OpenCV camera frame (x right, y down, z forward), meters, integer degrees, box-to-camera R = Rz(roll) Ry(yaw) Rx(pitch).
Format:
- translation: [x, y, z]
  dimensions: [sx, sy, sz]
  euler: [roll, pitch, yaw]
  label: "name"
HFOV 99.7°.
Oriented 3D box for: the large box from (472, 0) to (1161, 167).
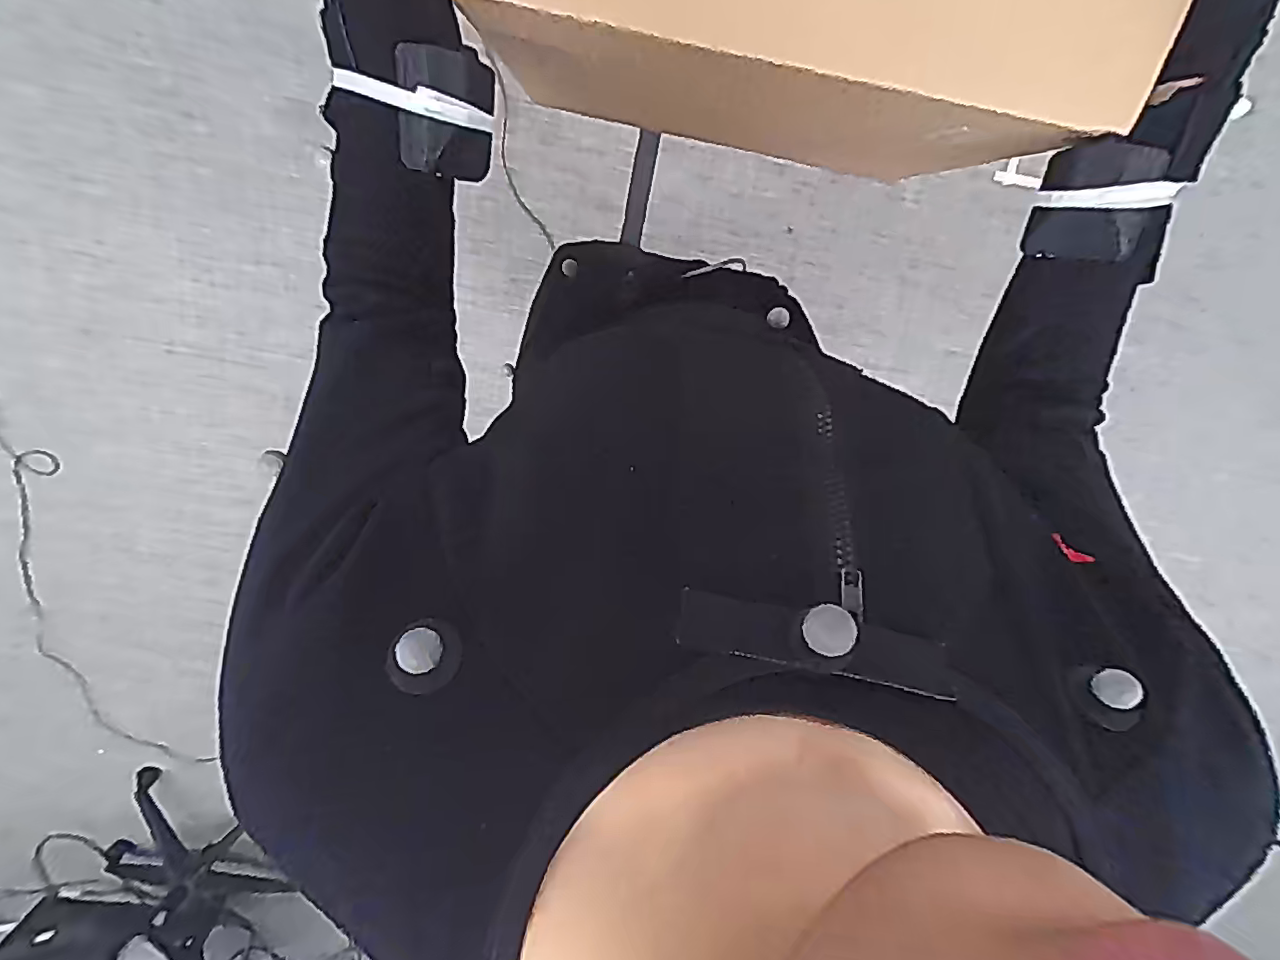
- translation: [0.110, -0.444, 0.385]
  dimensions: [0.408, 0.320, 0.320]
  euler: [8, 116, -5]
  label: "large box"
